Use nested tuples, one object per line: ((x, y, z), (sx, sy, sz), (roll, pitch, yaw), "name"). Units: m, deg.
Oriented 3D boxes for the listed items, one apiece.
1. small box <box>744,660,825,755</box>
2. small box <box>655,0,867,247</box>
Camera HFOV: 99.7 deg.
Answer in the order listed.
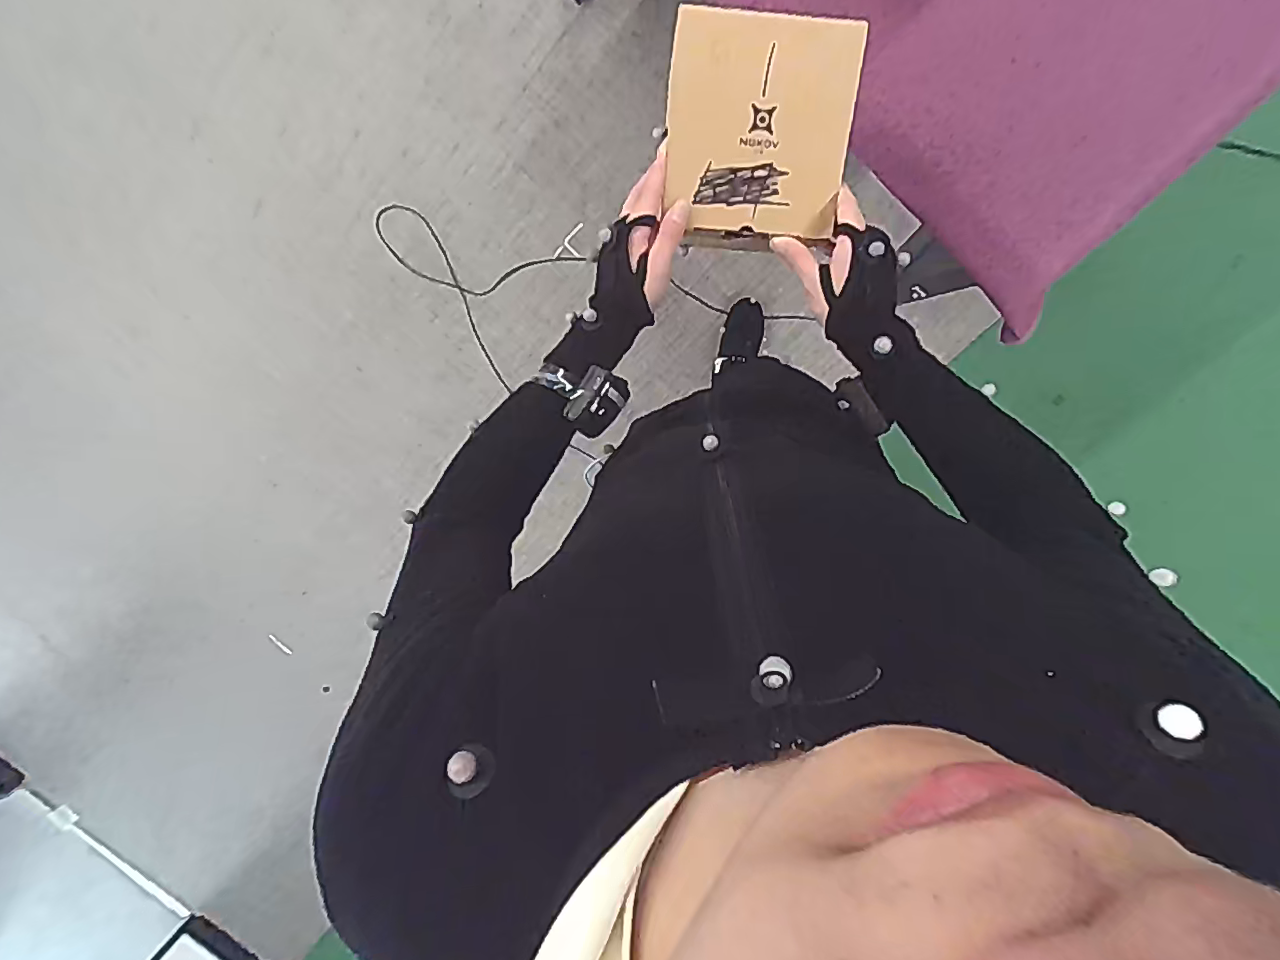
((0.445, 0.703, 1.686), (0.168, 0.176, 0.179), (-43, 95, 15), "small box")
((0.106, -0.347, 0.561), (0.168, 0.176, 0.179), (5, 108, -2), "small box")
